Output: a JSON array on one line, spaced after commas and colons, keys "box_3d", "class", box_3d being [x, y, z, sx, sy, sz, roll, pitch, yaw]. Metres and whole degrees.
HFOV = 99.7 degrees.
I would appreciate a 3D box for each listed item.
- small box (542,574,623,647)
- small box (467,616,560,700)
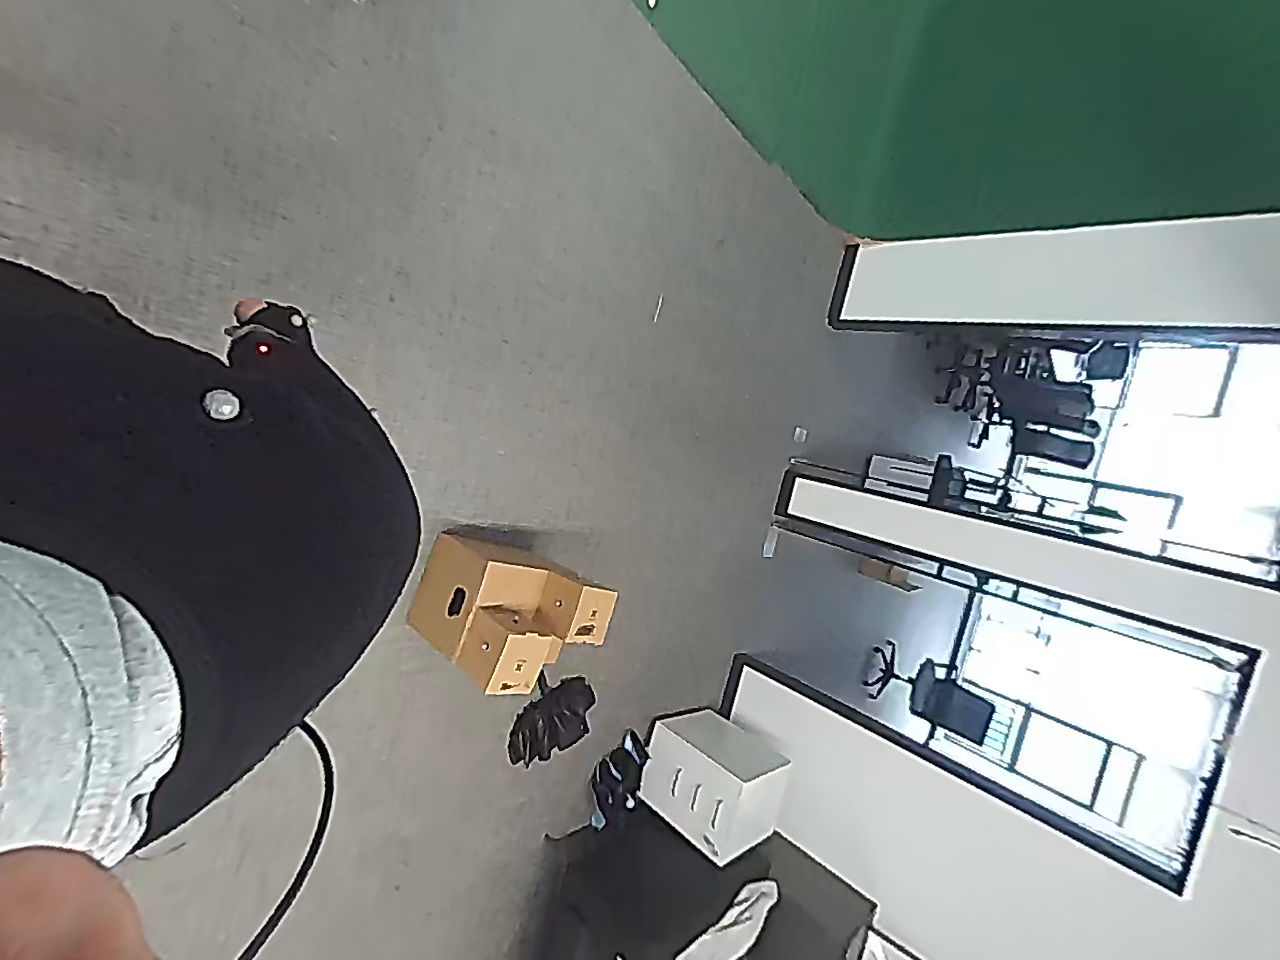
[{"box_3d": [-0.186, 0.414, 1.713, 0.168, 0.176, 0.179, 23, 80, -49], "class": "small box"}, {"box_3d": [-0.364, 0.502, 1.541, 0.168, 0.176, 0.179, 23, 85, -49], "class": "small box"}]
